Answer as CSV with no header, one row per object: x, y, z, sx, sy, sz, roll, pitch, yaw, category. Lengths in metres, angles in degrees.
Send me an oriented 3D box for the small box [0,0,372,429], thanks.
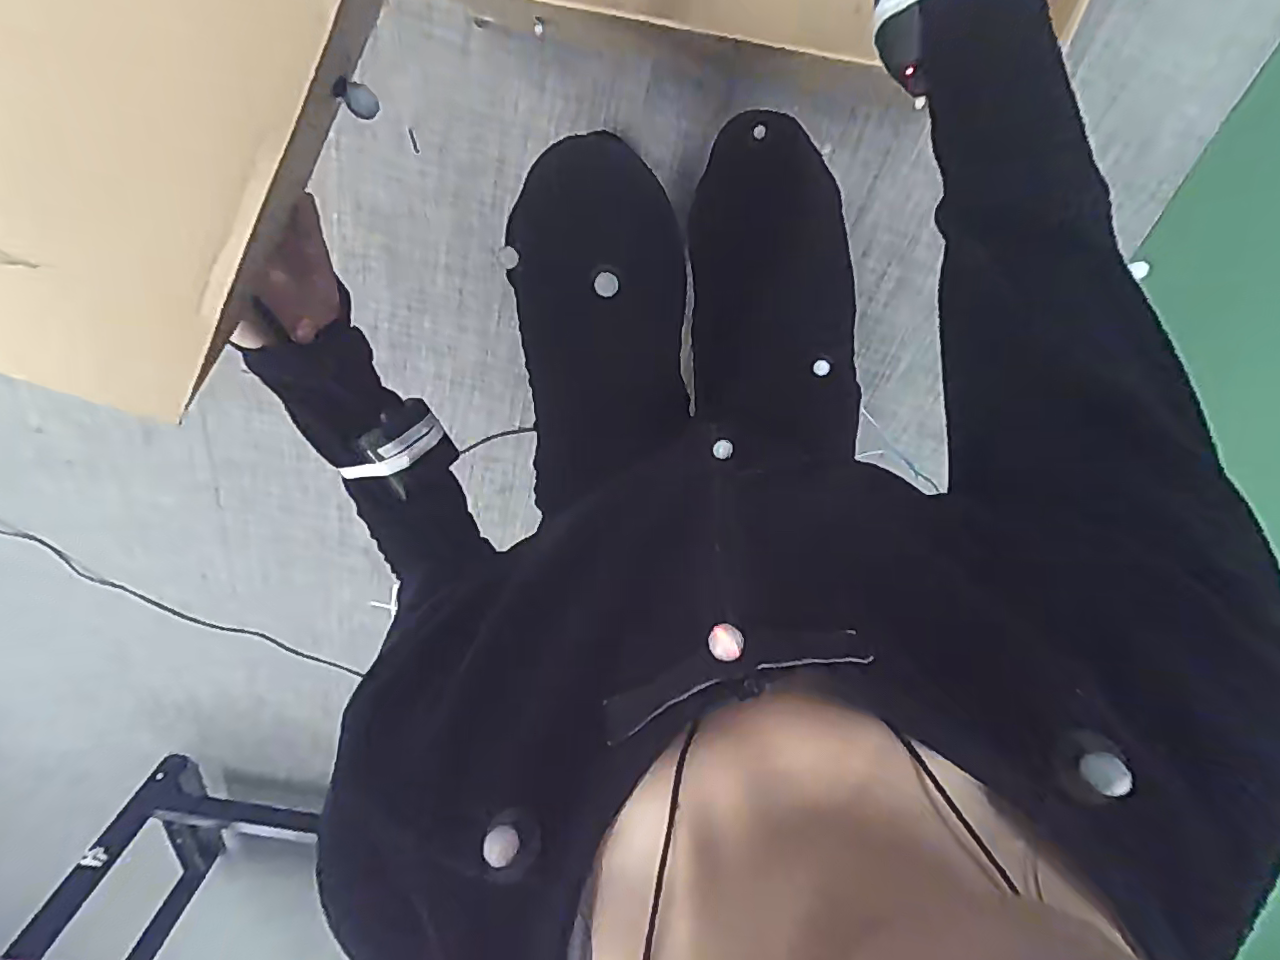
-0.216,-0.157,0.197,0.168,0.176,0.179,25,119,-35,small box
